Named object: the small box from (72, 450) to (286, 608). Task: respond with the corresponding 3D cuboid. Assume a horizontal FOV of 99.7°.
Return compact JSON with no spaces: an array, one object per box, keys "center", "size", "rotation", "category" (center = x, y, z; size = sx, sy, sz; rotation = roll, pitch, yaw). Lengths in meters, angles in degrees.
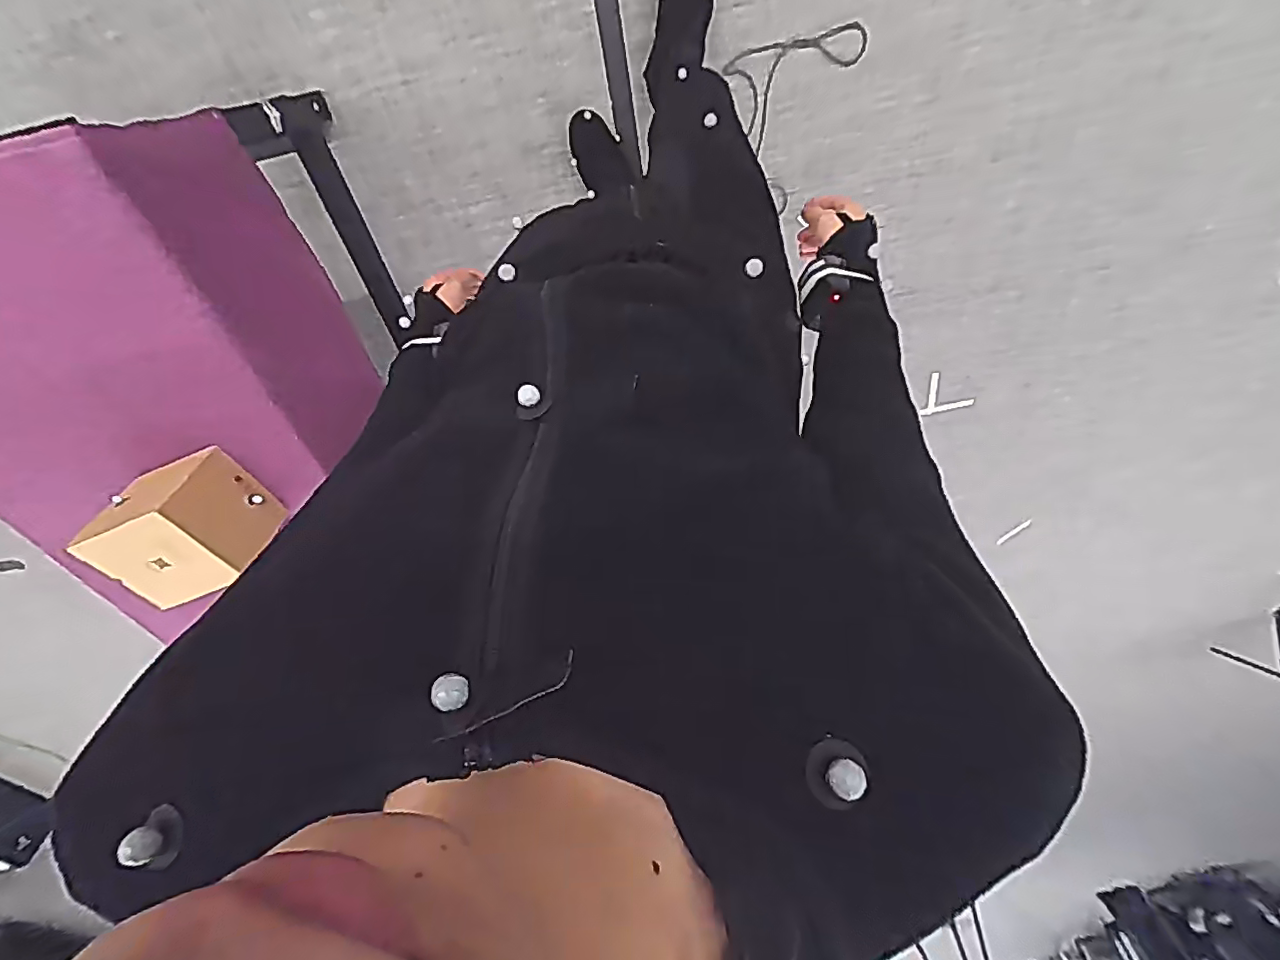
[{"center":[-0.741,0.078,0.895],"size":[0.179,0.176,0.168],"rotation":[-18,129,11],"category":"small box"}]
